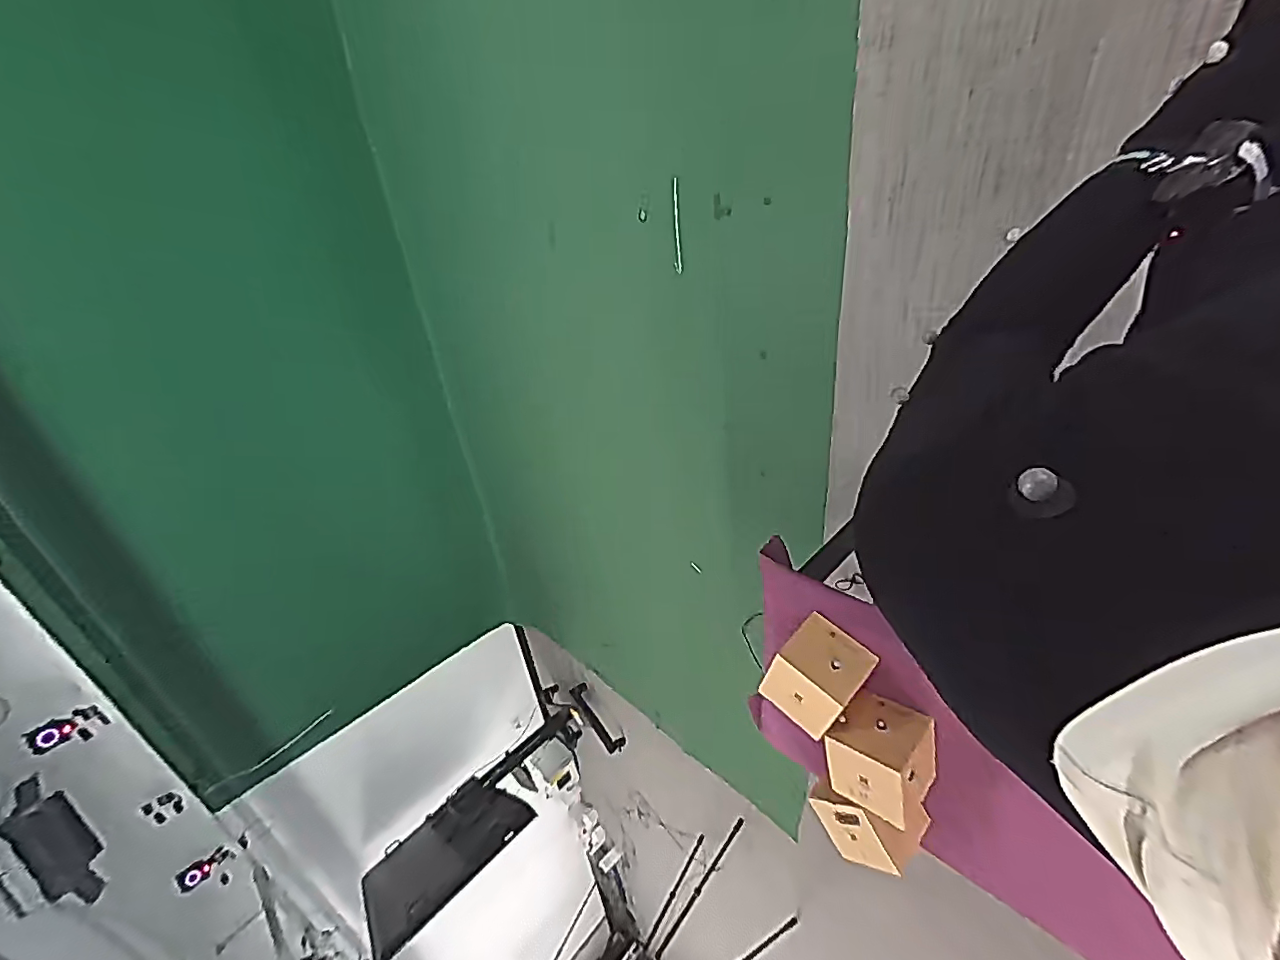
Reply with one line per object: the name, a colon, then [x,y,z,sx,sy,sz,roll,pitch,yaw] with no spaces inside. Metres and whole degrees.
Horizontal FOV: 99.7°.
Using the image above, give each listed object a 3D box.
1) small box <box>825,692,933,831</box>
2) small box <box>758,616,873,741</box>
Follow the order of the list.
small box: [0.531,0.609,1.195,0.168,0.176,0.179,11,123,47]
small box: [0.401,0.445,1.231,0.168,0.176,0.179,36,141,27]
